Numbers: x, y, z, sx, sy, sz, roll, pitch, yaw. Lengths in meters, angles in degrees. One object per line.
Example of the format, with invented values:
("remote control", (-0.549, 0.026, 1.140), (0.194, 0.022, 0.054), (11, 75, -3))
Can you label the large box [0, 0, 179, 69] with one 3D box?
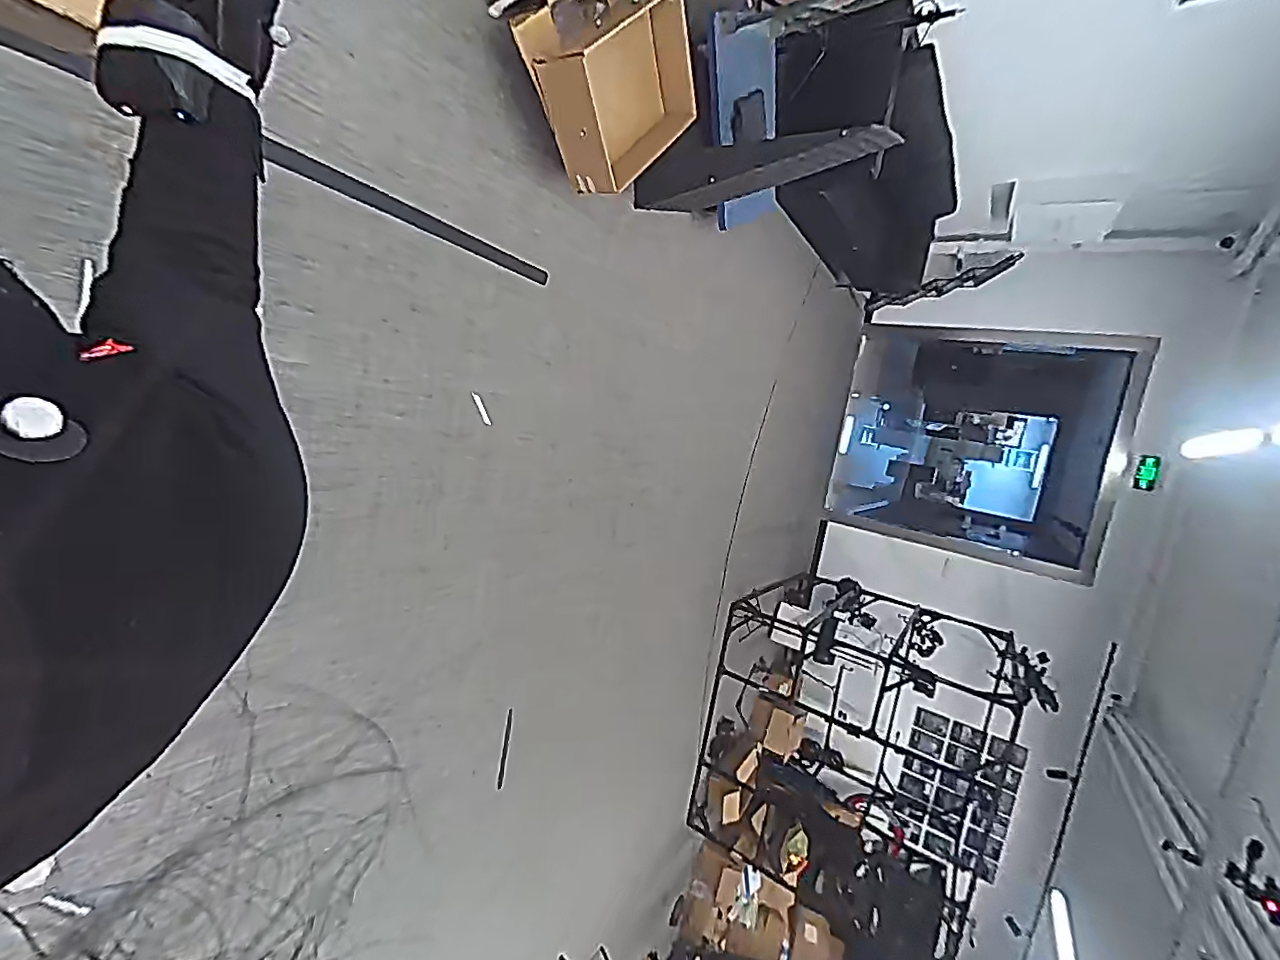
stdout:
("large box", (-0.529, -0.500, 0.274), (0.408, 0.320, 0.320), (-4, 119, -59))
